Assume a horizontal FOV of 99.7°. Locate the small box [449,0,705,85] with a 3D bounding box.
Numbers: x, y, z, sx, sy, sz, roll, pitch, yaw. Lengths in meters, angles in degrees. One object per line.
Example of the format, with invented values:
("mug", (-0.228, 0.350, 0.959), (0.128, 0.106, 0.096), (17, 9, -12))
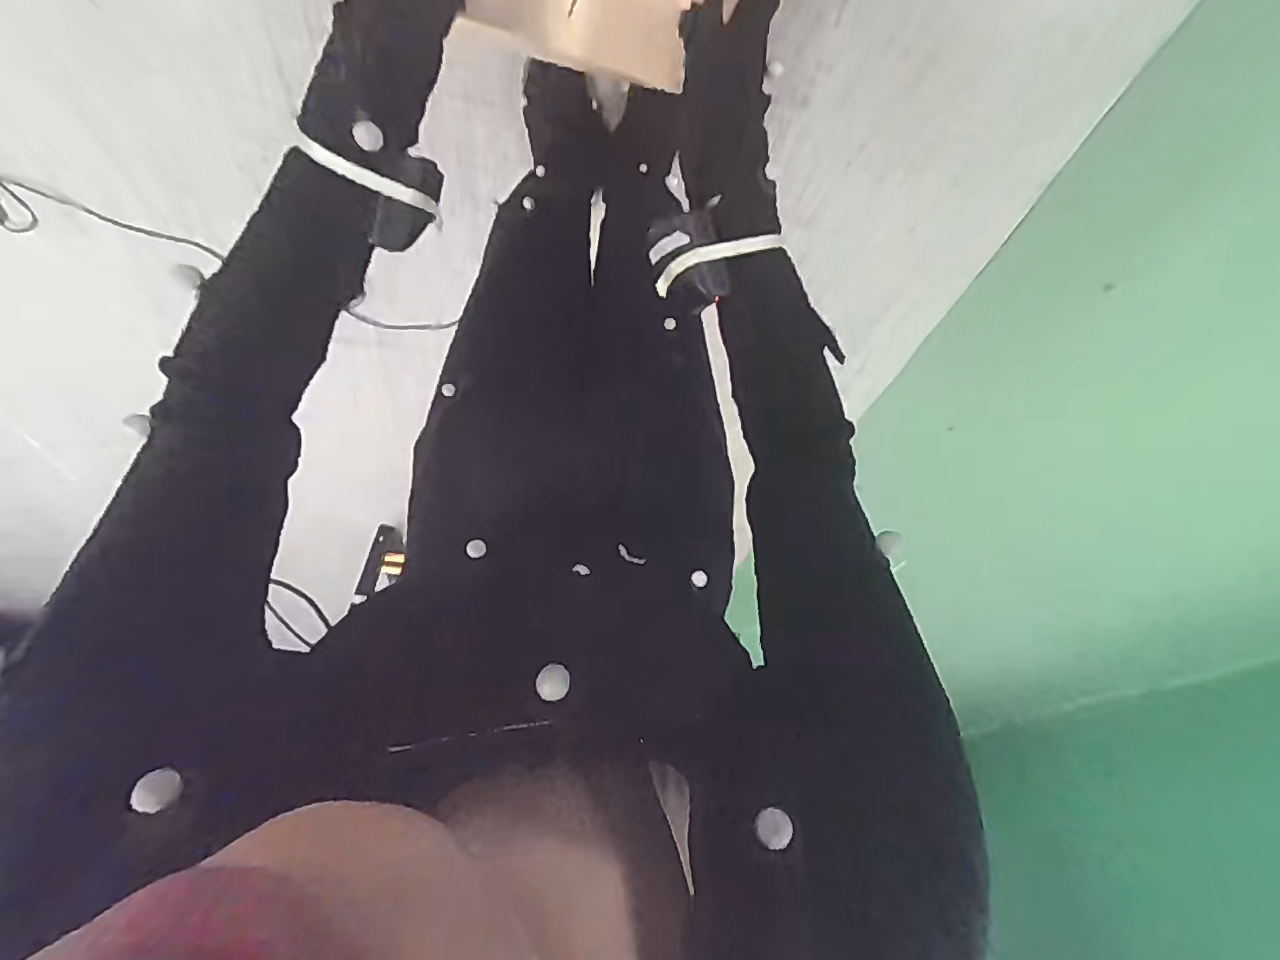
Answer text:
("small box", (-0.030, -0.413, 0.344), (0.168, 0.176, 0.179), (4, 153, -20))
